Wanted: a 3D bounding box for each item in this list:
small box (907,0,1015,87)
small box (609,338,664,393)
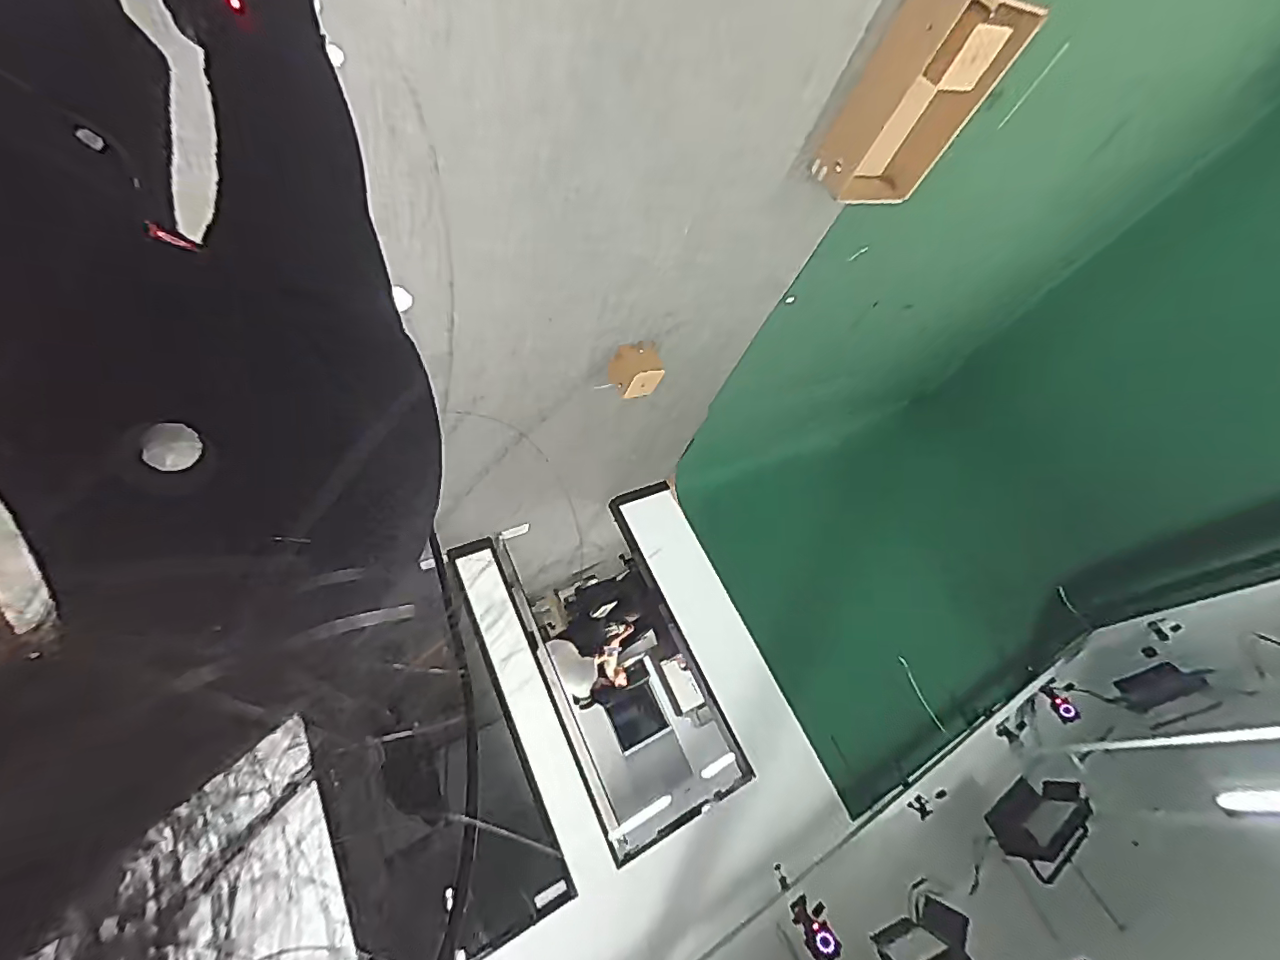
[{"bbox_3d":[0.938,-1.296,1.590,0.179,0.176,0.168,-16,158,-25],"label":"small box"},{"bbox_3d":[-0.024,-0.522,2.454,0.168,0.176,0.179,-15,157,-33],"label":"small box"}]
